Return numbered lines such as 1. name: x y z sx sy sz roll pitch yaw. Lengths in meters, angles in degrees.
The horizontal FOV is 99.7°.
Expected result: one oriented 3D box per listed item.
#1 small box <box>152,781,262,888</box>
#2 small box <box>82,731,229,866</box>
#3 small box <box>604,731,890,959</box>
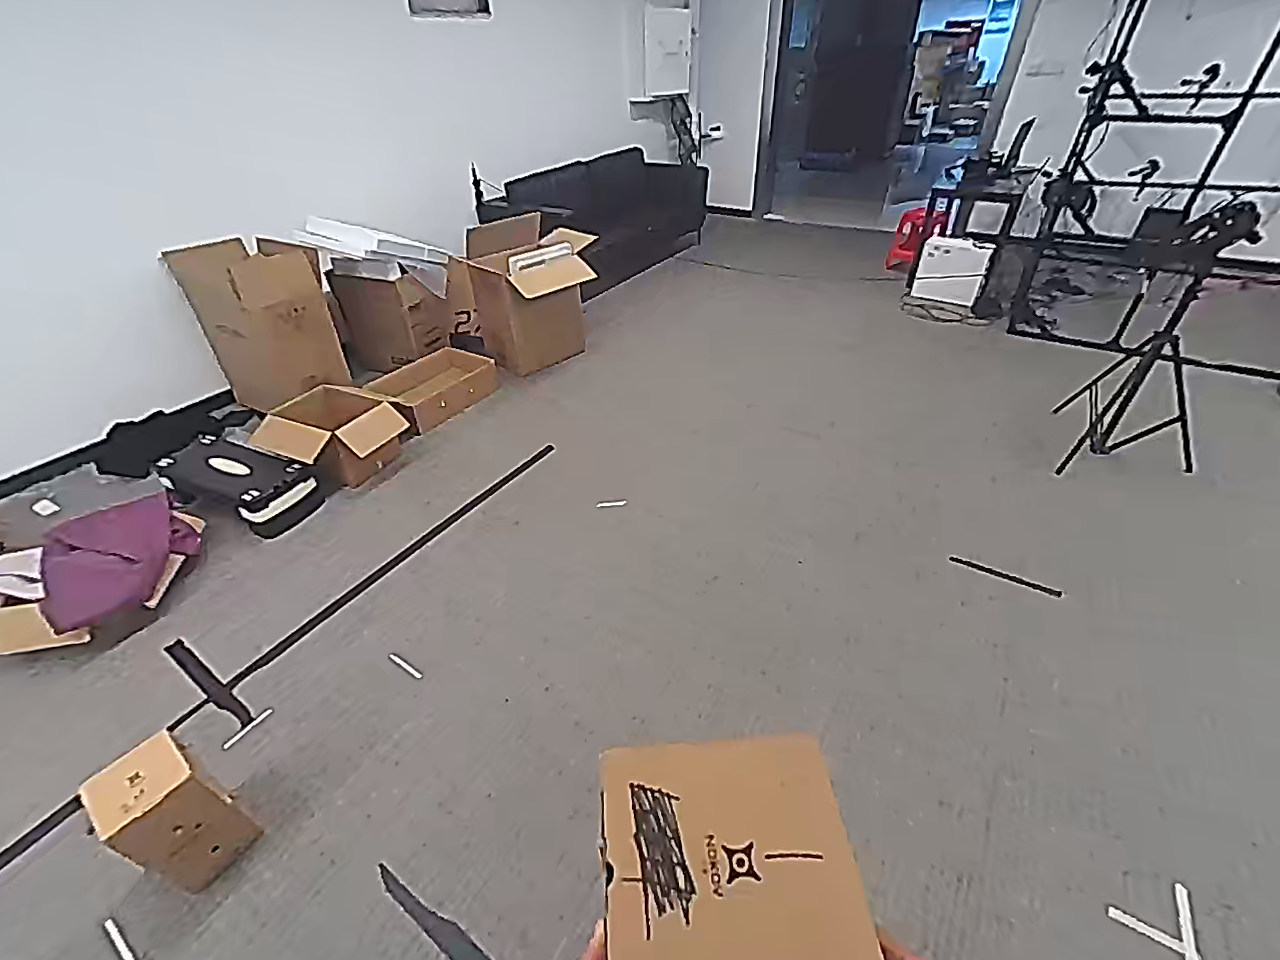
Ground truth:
1. small box: -1.071 0.846 1.311 0.179 0.176 0.168 21 43 25
2. small box: -1.077 0.714 1.211 0.179 0.176 0.168 25 46 29
3. small box: 0.066 0.323 0.429 0.179 0.176 0.168 -3 43 -3
